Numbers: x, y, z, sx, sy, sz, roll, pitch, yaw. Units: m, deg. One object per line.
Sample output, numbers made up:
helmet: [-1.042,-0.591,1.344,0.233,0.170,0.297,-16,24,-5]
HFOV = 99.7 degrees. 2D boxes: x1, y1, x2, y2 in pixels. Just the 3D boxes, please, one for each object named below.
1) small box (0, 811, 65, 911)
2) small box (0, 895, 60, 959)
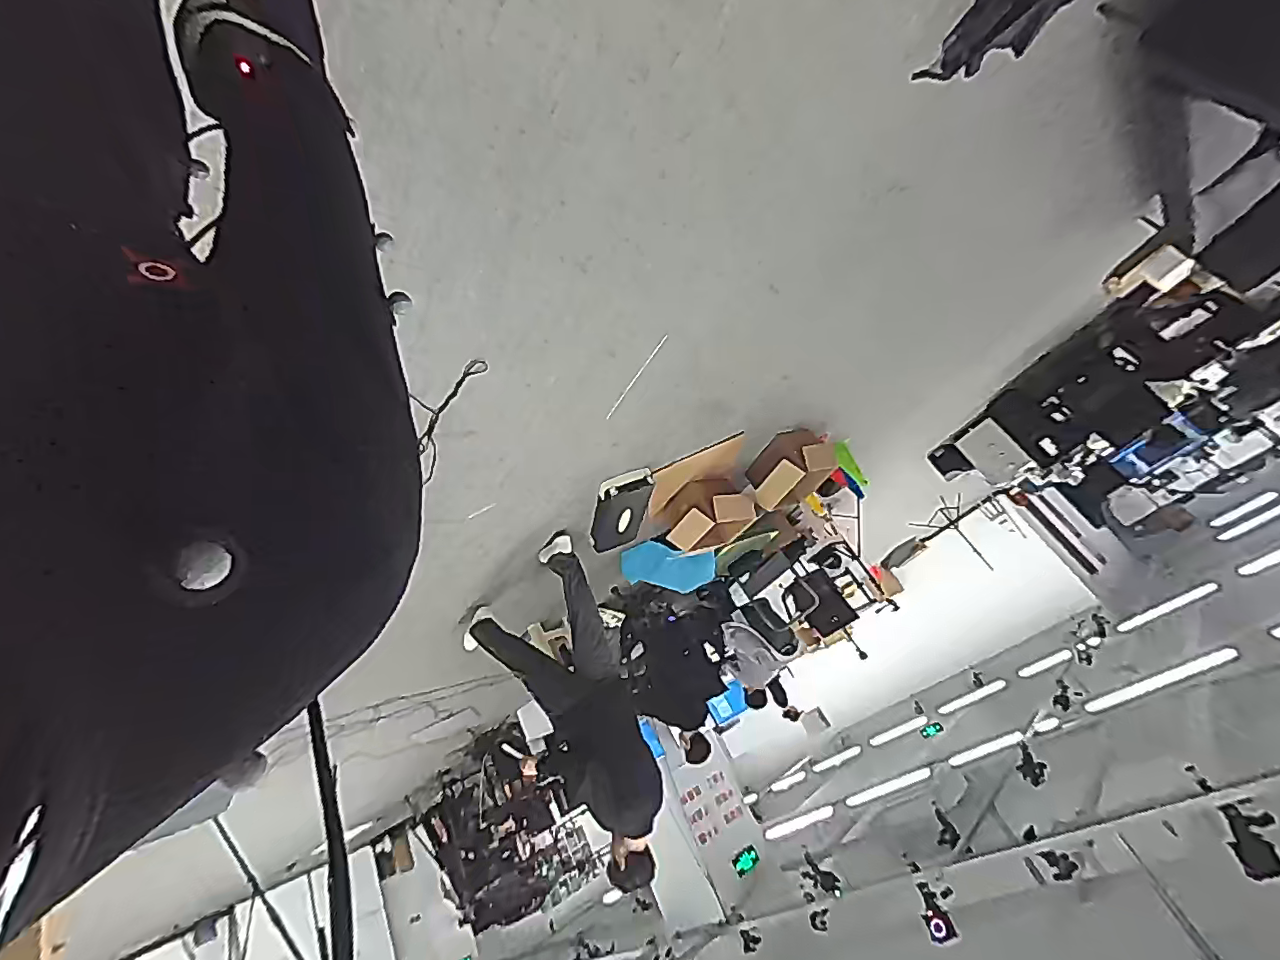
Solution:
small box: [-1.372,0.851,1.171,0.168,0.176,0.179,1,142,-46]
small box: [-1.312,0.981,1.092,0.179,0.176,0.168,-5,145,-40]
